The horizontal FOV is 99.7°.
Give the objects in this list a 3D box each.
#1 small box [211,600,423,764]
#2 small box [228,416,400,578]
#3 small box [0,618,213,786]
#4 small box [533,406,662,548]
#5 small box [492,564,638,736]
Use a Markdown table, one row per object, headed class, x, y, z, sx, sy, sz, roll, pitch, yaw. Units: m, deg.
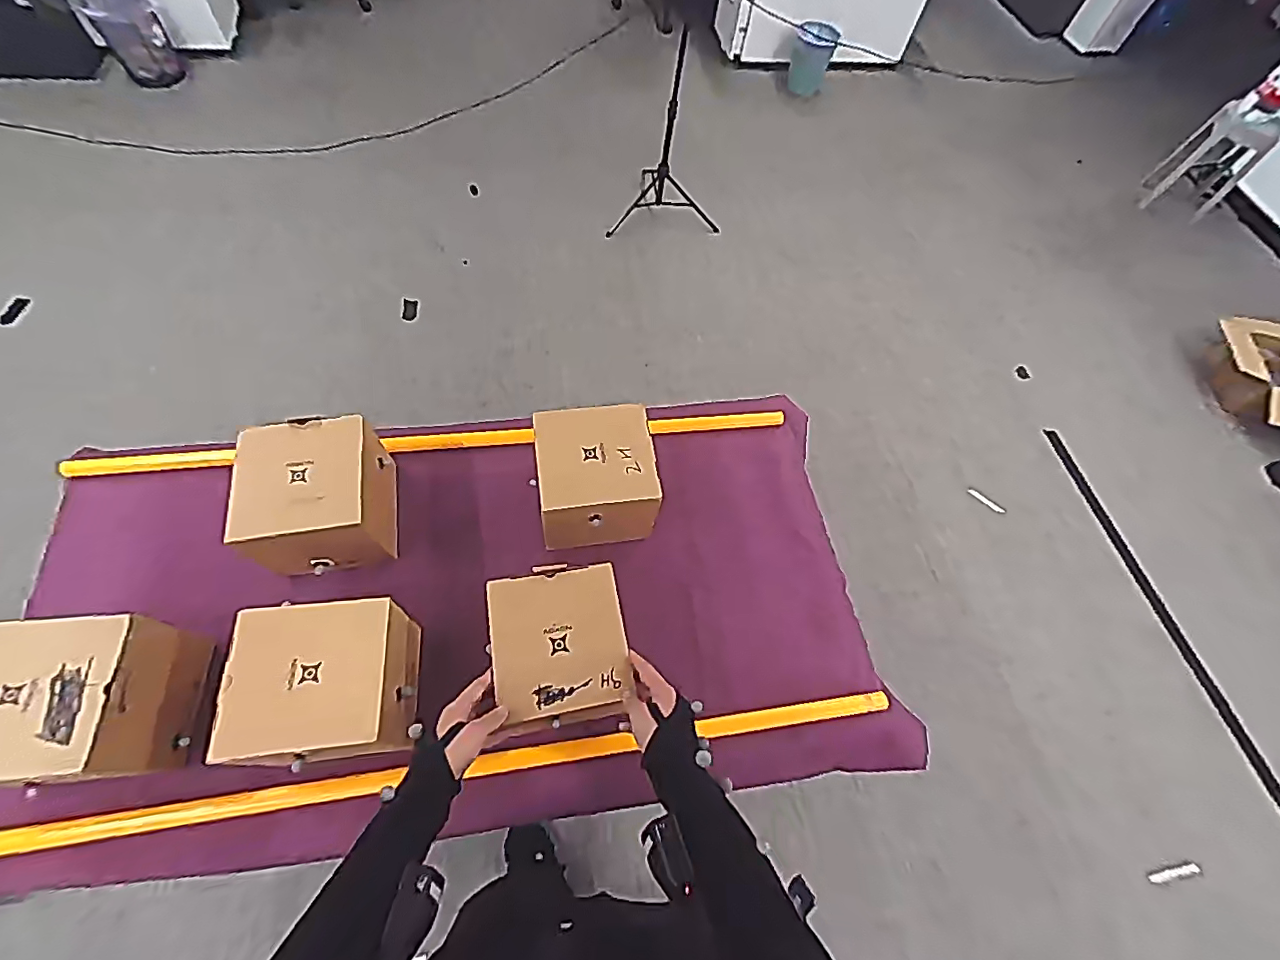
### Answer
| class | x | y | z | sx | sy | sz | roll | pitch | yaw |
| --- | --- | --- | --- | --- | --- | --- | --- | --- | --- |
| small box | -0.388 | 0.261 | 0.692 | 0.179 | 0.176 | 0.168 | -4 | 62 | -8 |
| small box | -0.468 | 0.029 | 0.806 | 0.168 | 0.176 | 0.179 | -8 | 64 | -10 |
| small box | -0.669 | 0.269 | 0.652 | 0.179 | 0.176 | 0.168 | -2 | 63 | -8 |
| small box | -0.072 | 0.000 | 0.866 | 0.179 | 0.176 | 0.168 | -6 | 64 | -9 |
| small box | -0.106 | 0.235 | 0.737 | 0.168 | 0.176 | 0.179 | -7 | 62 | -11 |
